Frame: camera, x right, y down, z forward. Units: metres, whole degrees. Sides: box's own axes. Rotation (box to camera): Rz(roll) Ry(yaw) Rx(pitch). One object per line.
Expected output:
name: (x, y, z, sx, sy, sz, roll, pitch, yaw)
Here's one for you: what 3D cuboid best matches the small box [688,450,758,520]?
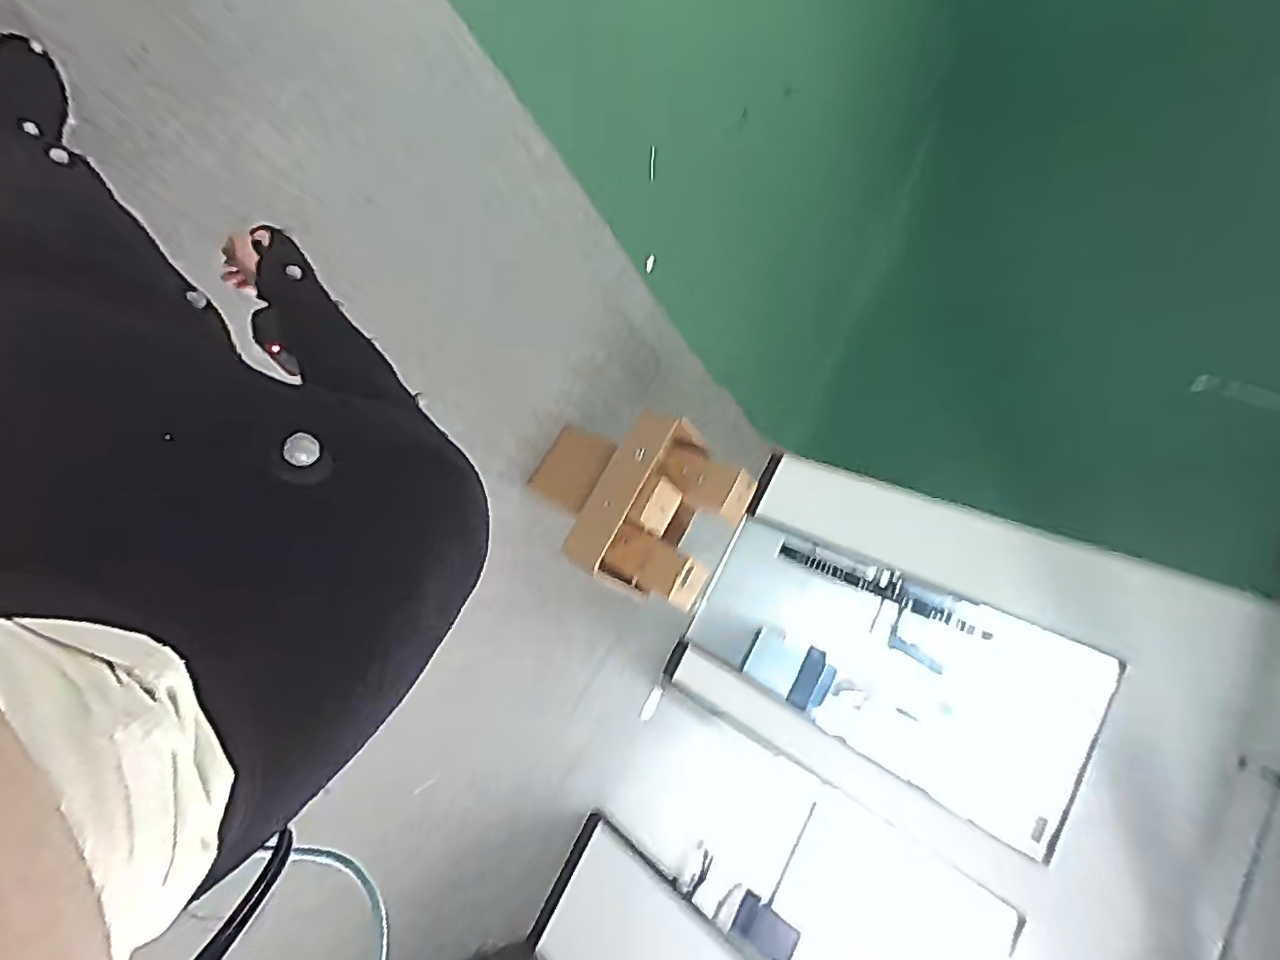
small box: (0.299, 0.017, 1.990, 0.179, 0.176, 0.168, -60, 142, -8)
